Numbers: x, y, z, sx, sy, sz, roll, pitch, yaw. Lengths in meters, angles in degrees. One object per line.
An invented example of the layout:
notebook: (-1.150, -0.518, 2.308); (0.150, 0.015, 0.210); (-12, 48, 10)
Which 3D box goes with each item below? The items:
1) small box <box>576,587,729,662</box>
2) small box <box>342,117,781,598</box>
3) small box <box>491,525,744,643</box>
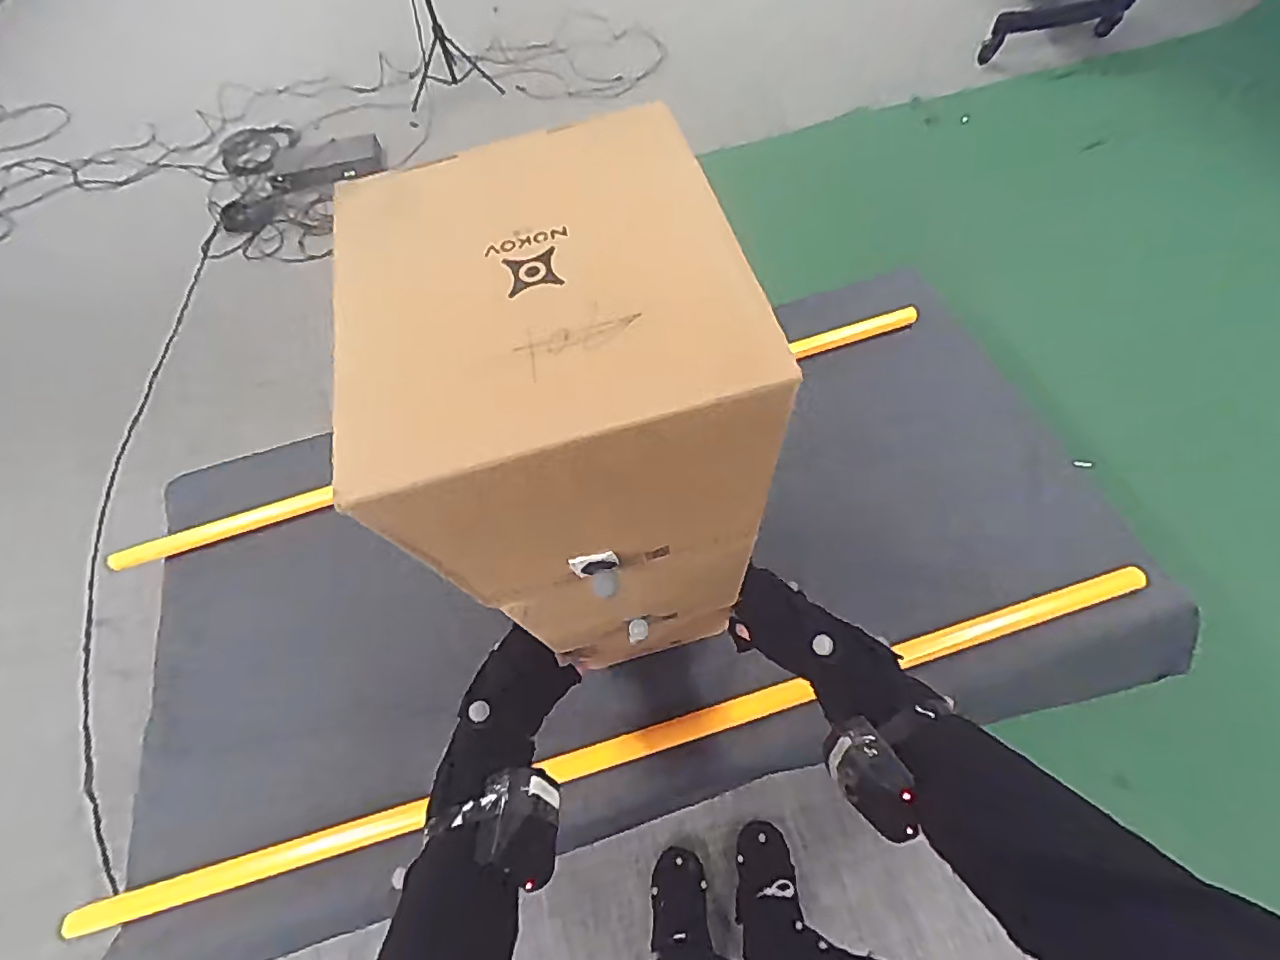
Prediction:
small box: (-0.010, 0.084, 0.599); (0.168, 0.176, 0.179); (-15, 63, -2)
small box: (-0.039, -0.053, 0.304); (0.168, 0.176, 0.179); (-16, 64, -1)
small box: (-0.026, 0.017, 0.448); (0.168, 0.176, 0.179); (-15, 63, -2)
